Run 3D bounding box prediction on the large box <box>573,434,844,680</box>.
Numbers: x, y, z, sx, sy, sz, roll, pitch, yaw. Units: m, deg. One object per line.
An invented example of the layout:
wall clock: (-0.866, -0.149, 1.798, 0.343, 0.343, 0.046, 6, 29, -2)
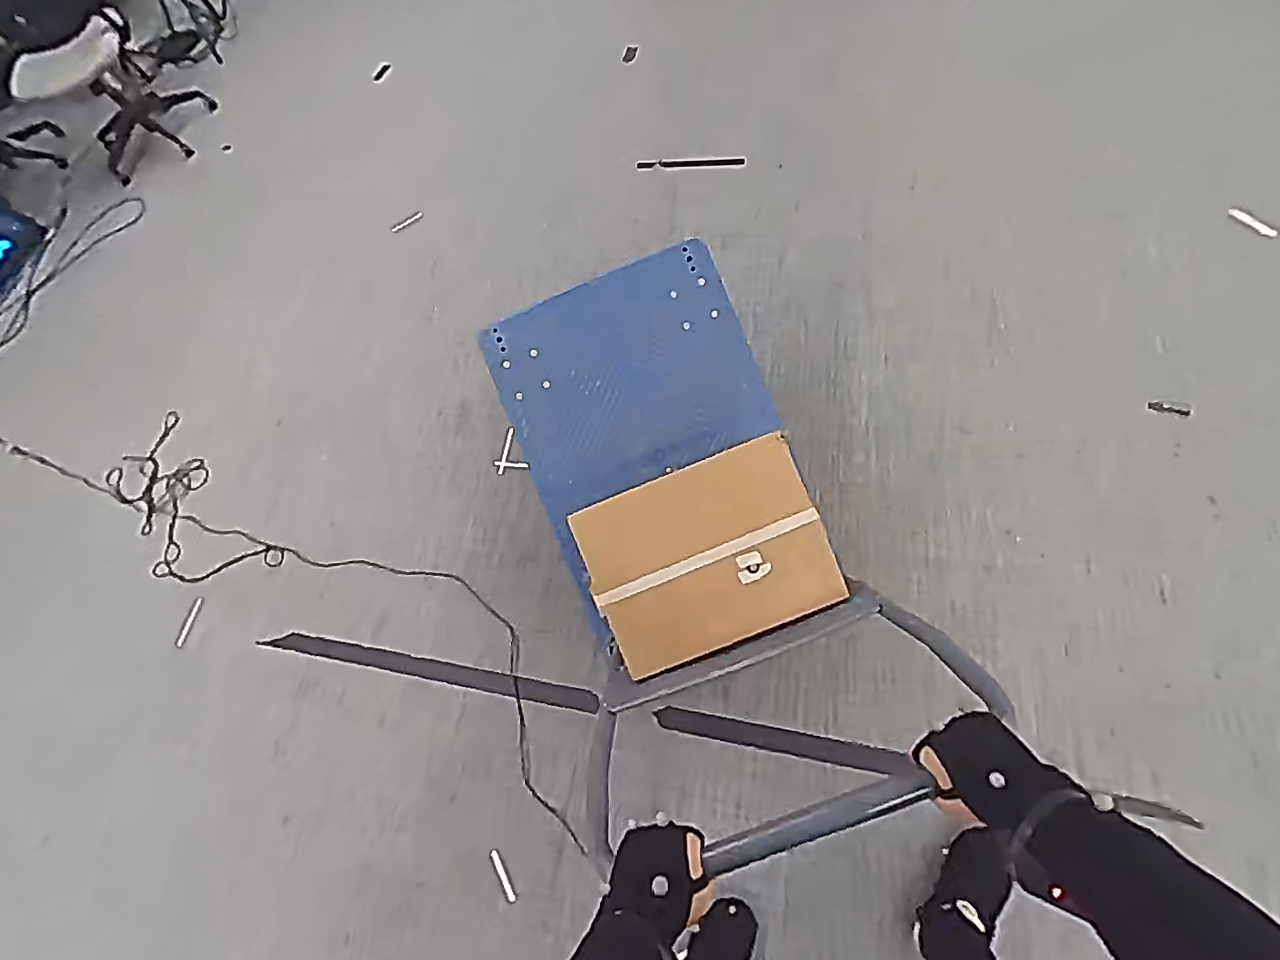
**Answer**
large box: (0.123, 0.143, 1.102, 0.408, 0.320, 0.320, -23, 88, 1)
